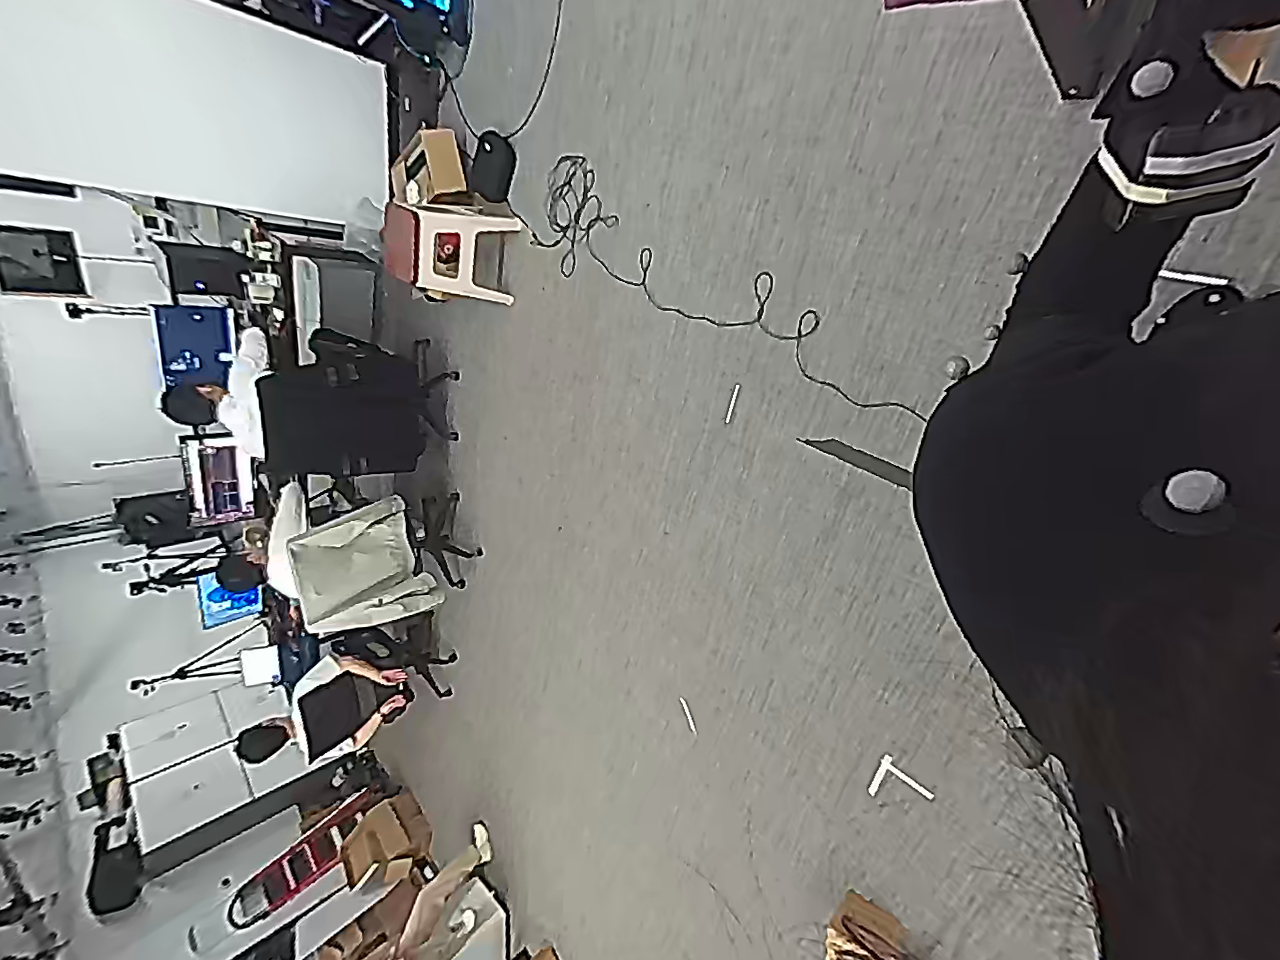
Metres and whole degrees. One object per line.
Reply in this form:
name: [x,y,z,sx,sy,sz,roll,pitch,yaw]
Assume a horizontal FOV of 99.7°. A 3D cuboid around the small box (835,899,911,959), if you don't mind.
small box: [0.749,1.507,1.740,0.179,0.176,0.168,9,107,43]
